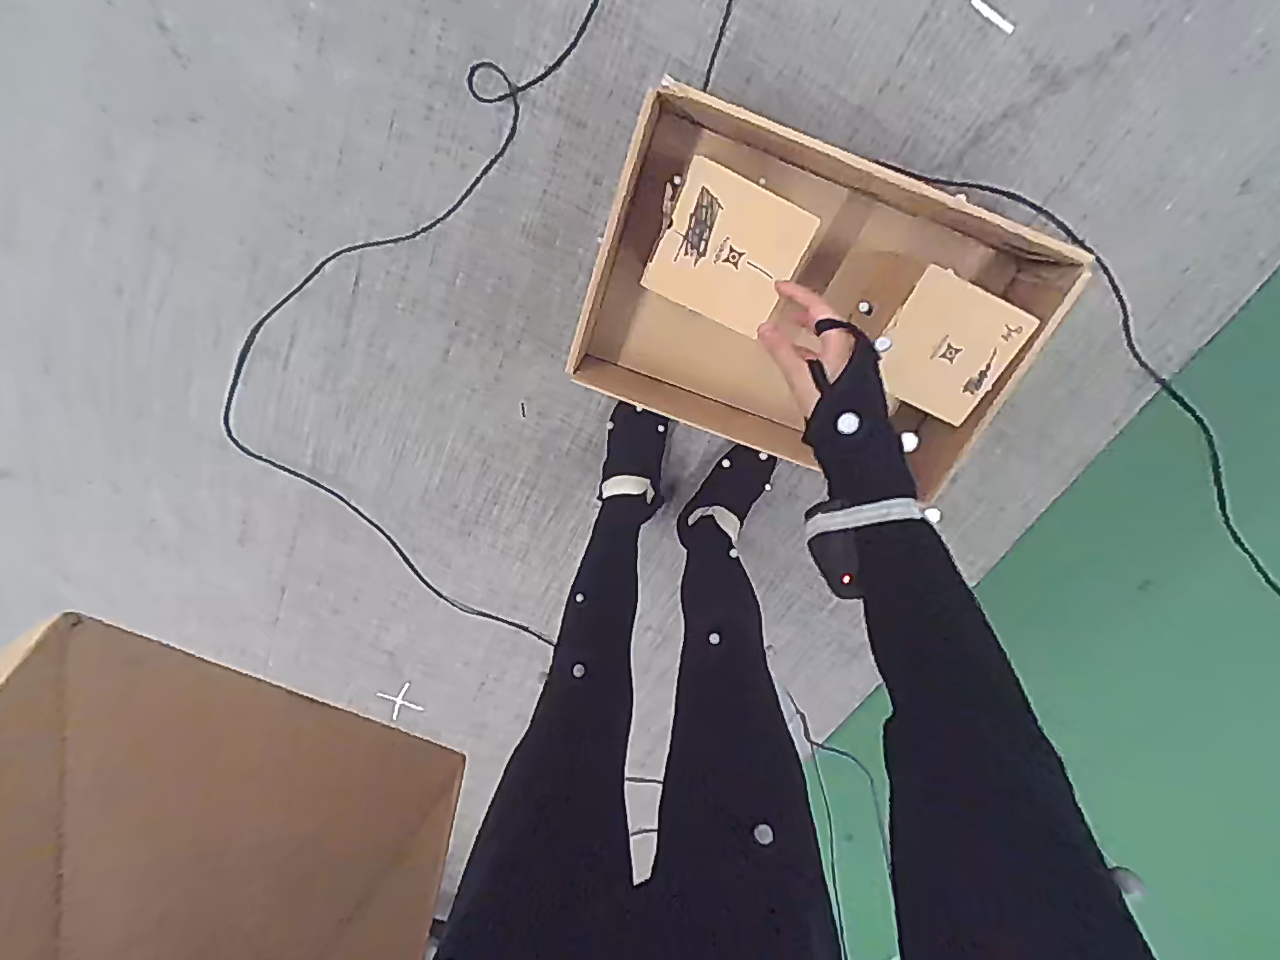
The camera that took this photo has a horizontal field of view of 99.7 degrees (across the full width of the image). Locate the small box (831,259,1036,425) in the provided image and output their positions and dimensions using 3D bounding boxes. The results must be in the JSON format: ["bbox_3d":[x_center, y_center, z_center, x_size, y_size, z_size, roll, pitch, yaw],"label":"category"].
[{"bbox_3d":[0.412,-0.211,0.798,0.179,0.176,0.168,25,116,-8],"label":"small box"}]
